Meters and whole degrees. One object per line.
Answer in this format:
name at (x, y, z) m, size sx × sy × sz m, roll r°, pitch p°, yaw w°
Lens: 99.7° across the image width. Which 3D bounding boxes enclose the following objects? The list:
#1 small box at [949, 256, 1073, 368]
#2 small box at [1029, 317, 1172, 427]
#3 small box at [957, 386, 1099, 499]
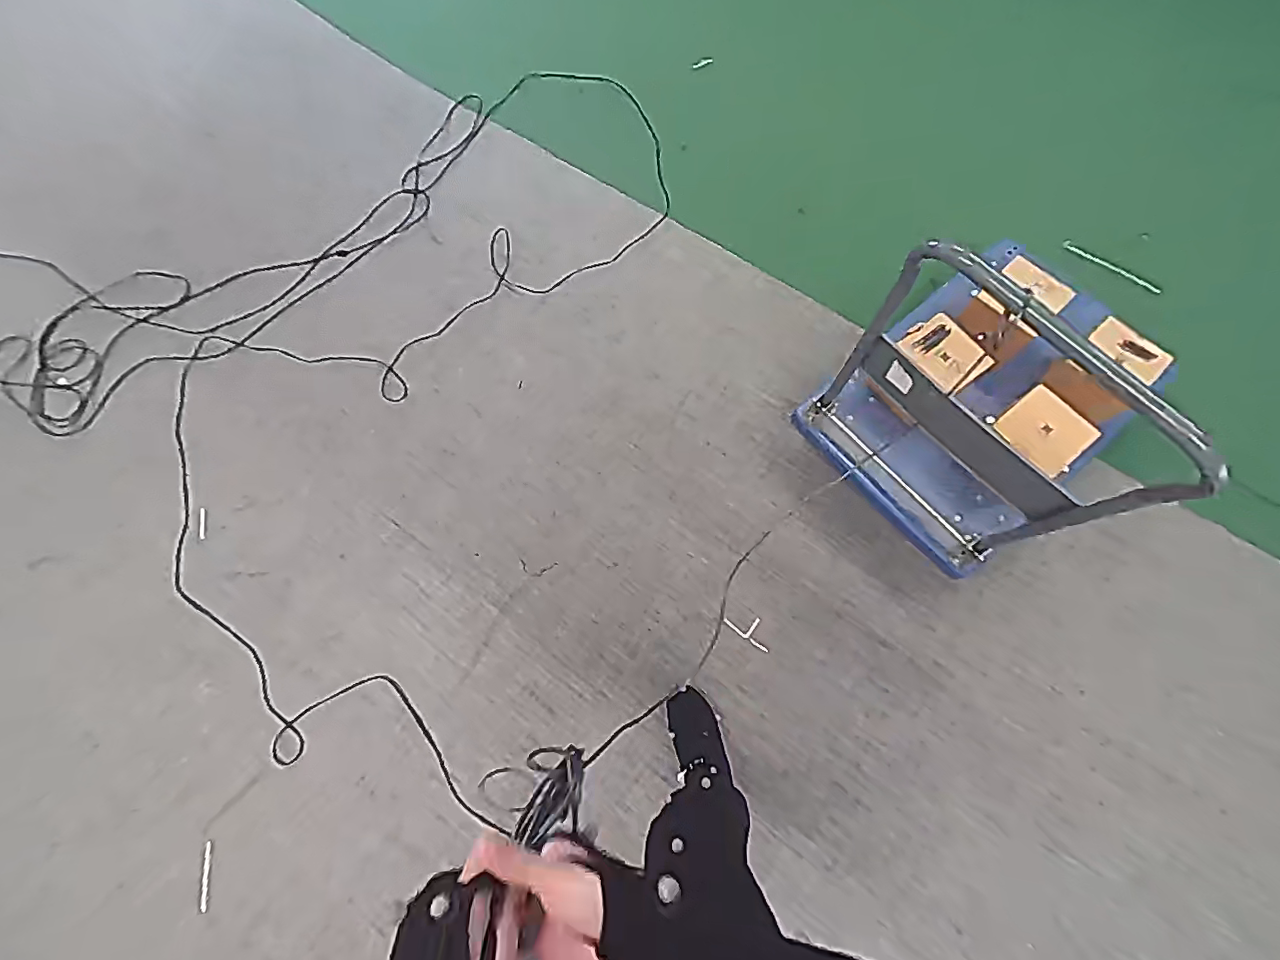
small box at (0.931, -0.420, 1.381) m, size 0.179 × 0.176 × 0.168 m, roll -42°, pitch 75°, yaw -11°
small box at (1.105, -0.250, 1.316) m, size 0.179 × 0.176 × 0.168 m, roll -43°, pitch 74°, yaw -10°
small box at (0.897, -0.082, 1.271) m, size 0.179 × 0.176 × 0.168 m, roll -38°, pitch 74°, yaw -9°
